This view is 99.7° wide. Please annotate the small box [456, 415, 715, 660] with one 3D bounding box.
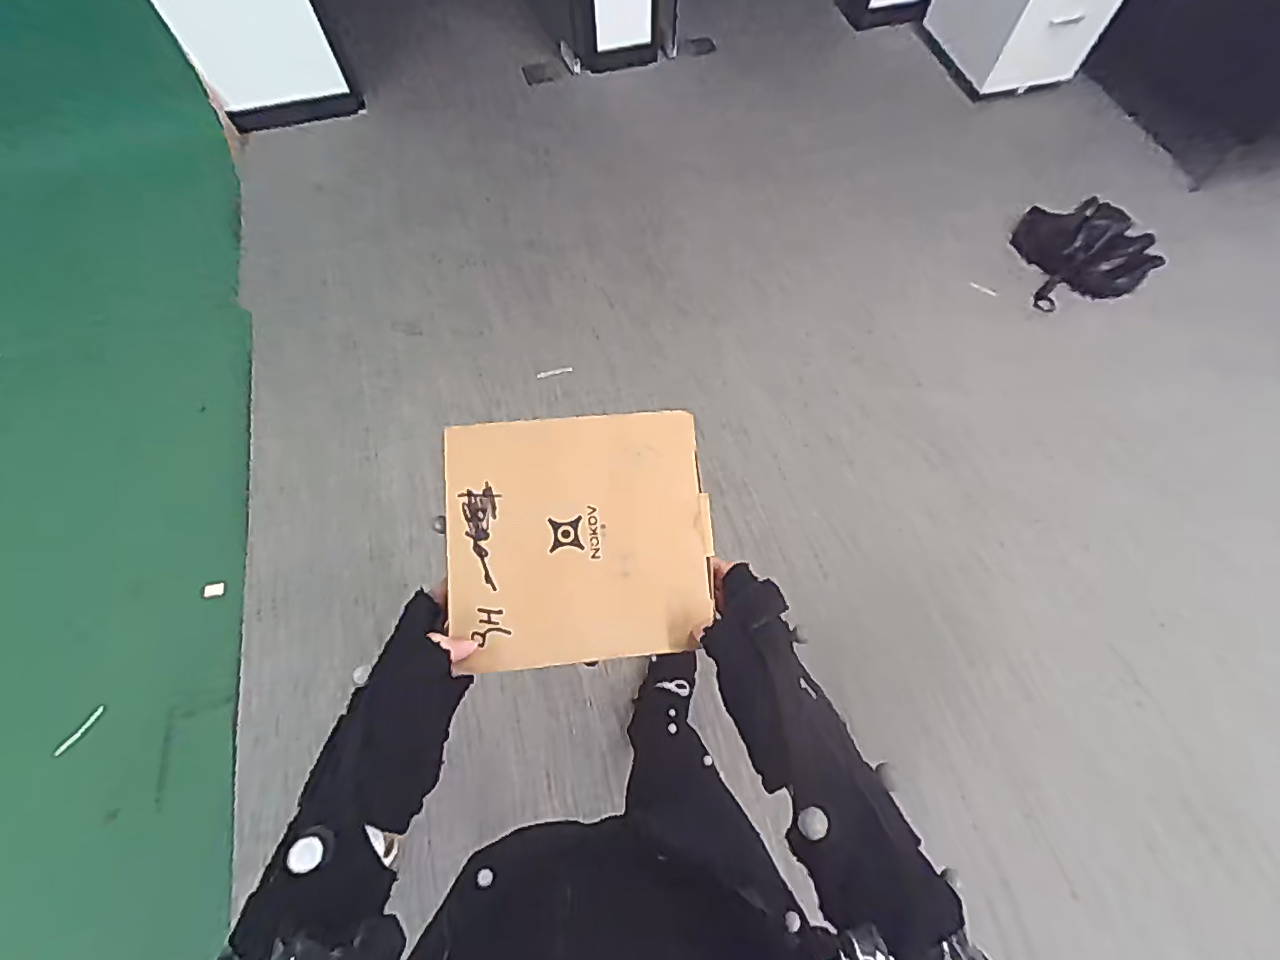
[{"bbox_3d":[-0.049,0.050,0.454,0.179,0.176,0.168,-3,78,-7],"label":"small box"}]
